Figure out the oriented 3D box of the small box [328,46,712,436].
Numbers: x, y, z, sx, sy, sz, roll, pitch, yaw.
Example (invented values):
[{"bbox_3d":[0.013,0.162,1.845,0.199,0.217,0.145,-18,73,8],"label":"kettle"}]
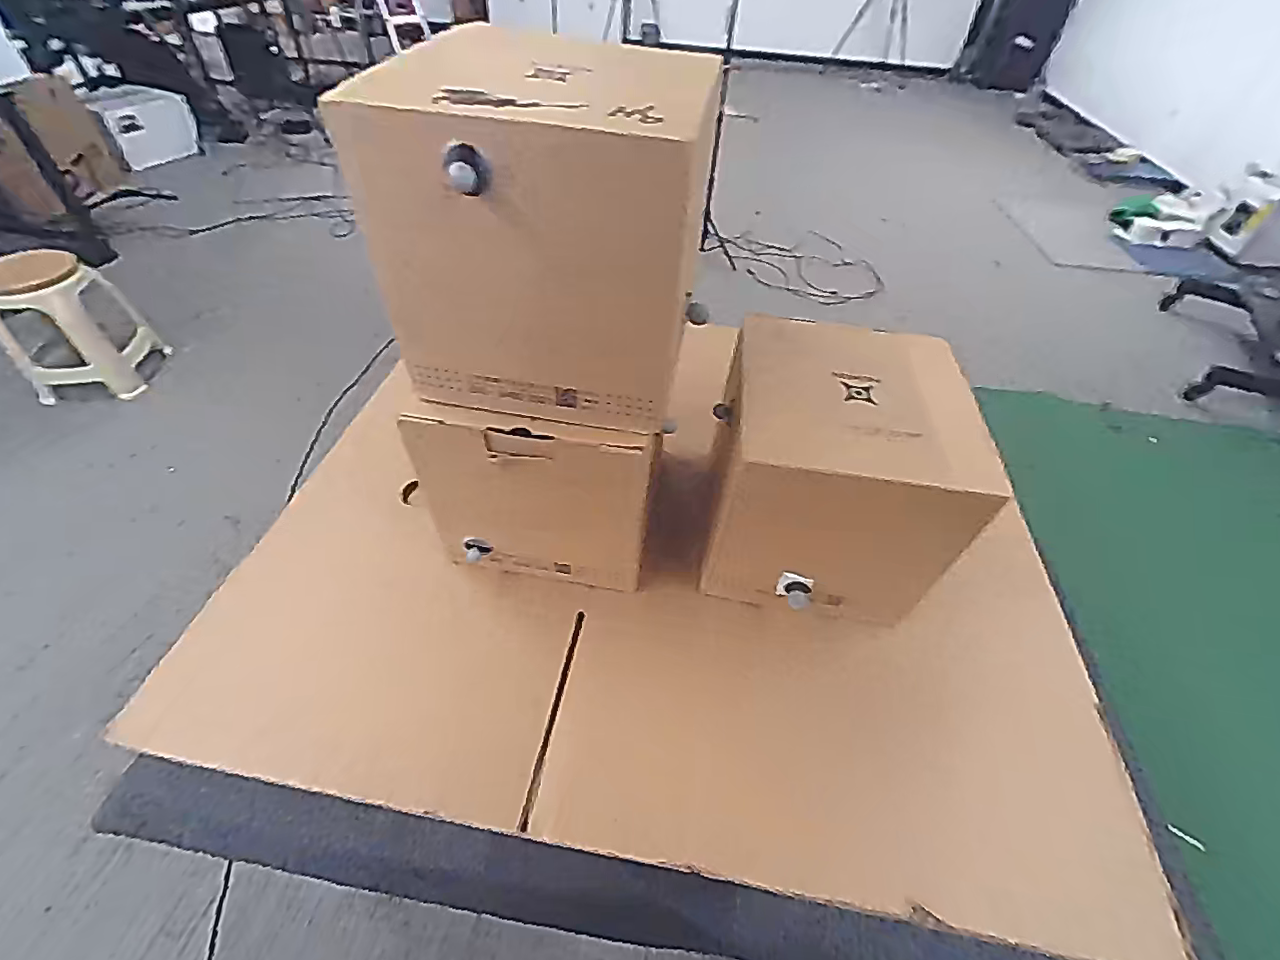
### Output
[{"bbox_3d":[-0.053,-0.155,0.352,0.168,0.176,0.179,9,47,5],"label":"small box"}]
